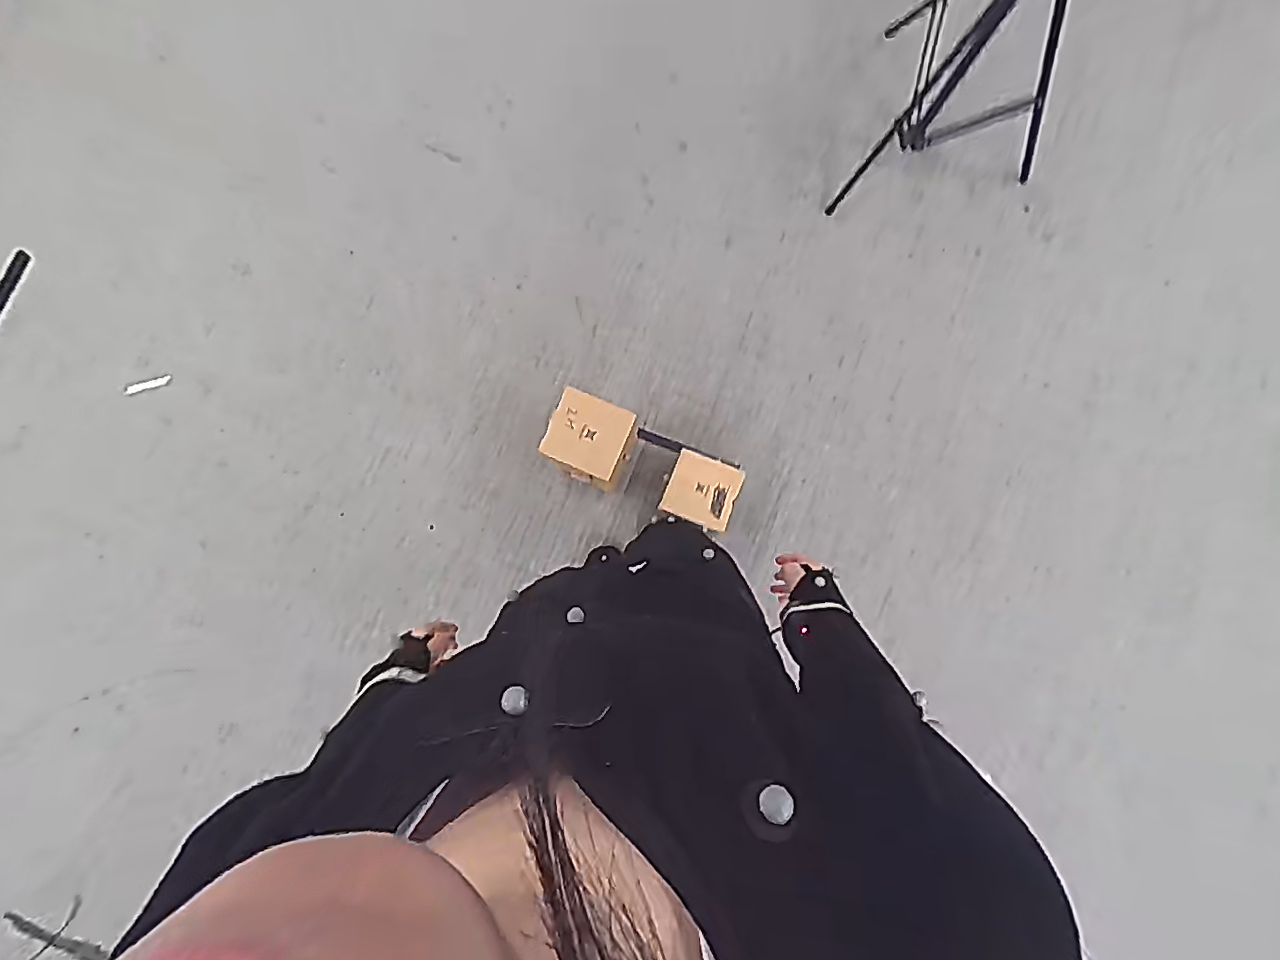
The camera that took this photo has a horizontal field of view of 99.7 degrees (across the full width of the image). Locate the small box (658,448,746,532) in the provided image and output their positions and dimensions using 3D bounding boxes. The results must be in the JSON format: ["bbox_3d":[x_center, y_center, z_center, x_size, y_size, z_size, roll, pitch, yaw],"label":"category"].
[{"bbox_3d":[0.158,0.029,1.433,0.179,0.176,0.168,22,86,3],"label":"small box"}]

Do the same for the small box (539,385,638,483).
[{"bbox_3d":[-0.115,-0.100,1.280,0.179,0.176,0.168,24,85,3],"label":"small box"}]
